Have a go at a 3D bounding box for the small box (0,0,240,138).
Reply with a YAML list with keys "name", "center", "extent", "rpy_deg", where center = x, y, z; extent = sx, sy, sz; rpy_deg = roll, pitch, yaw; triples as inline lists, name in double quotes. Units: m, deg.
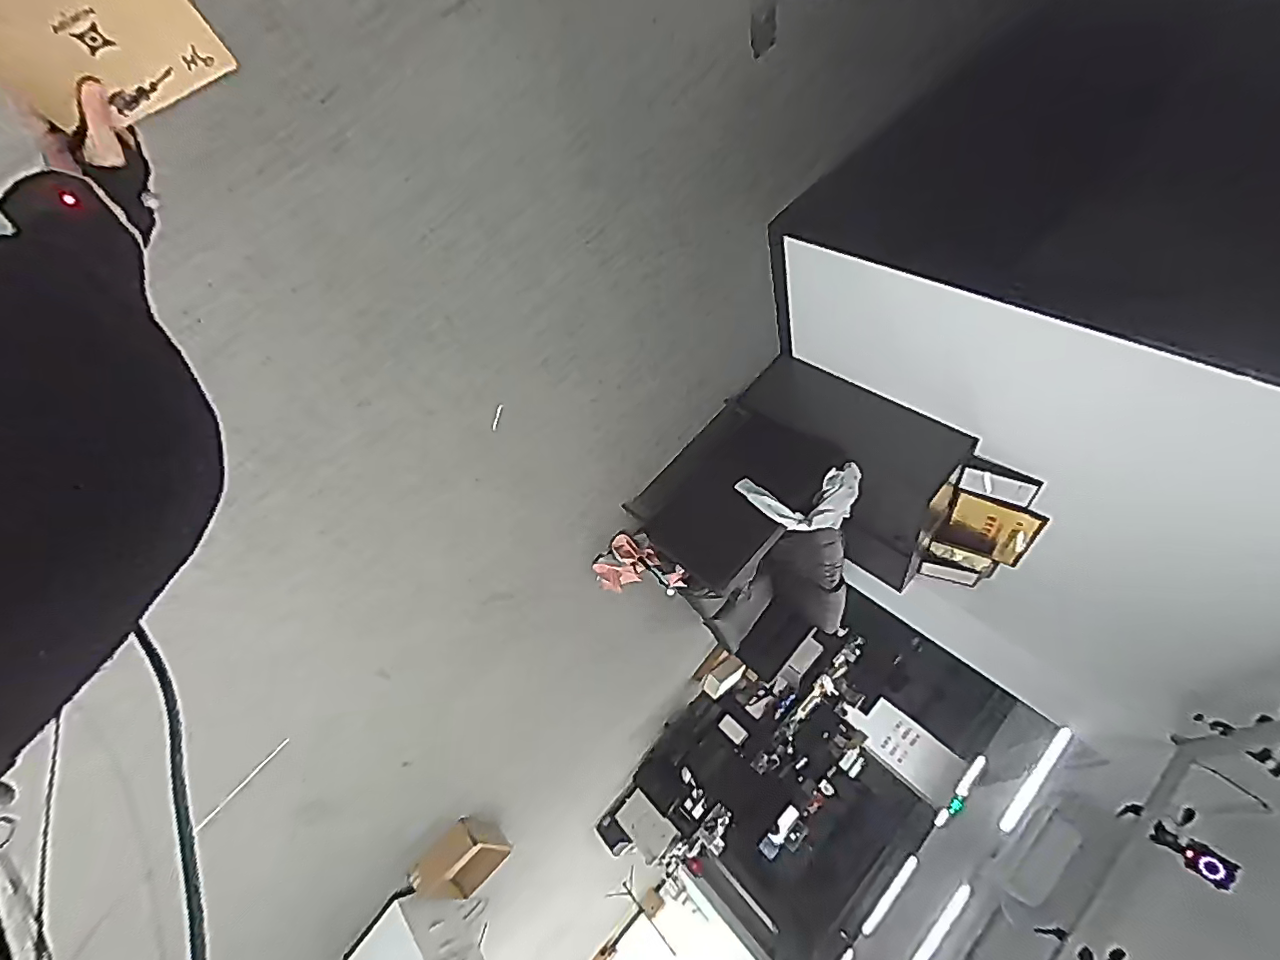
- name: "small box"
  center: [-0.493, -0.438, 0.435]
  extent: [0.168, 0.176, 0.179]
  rpy_deg: [-34, -178, -6]
